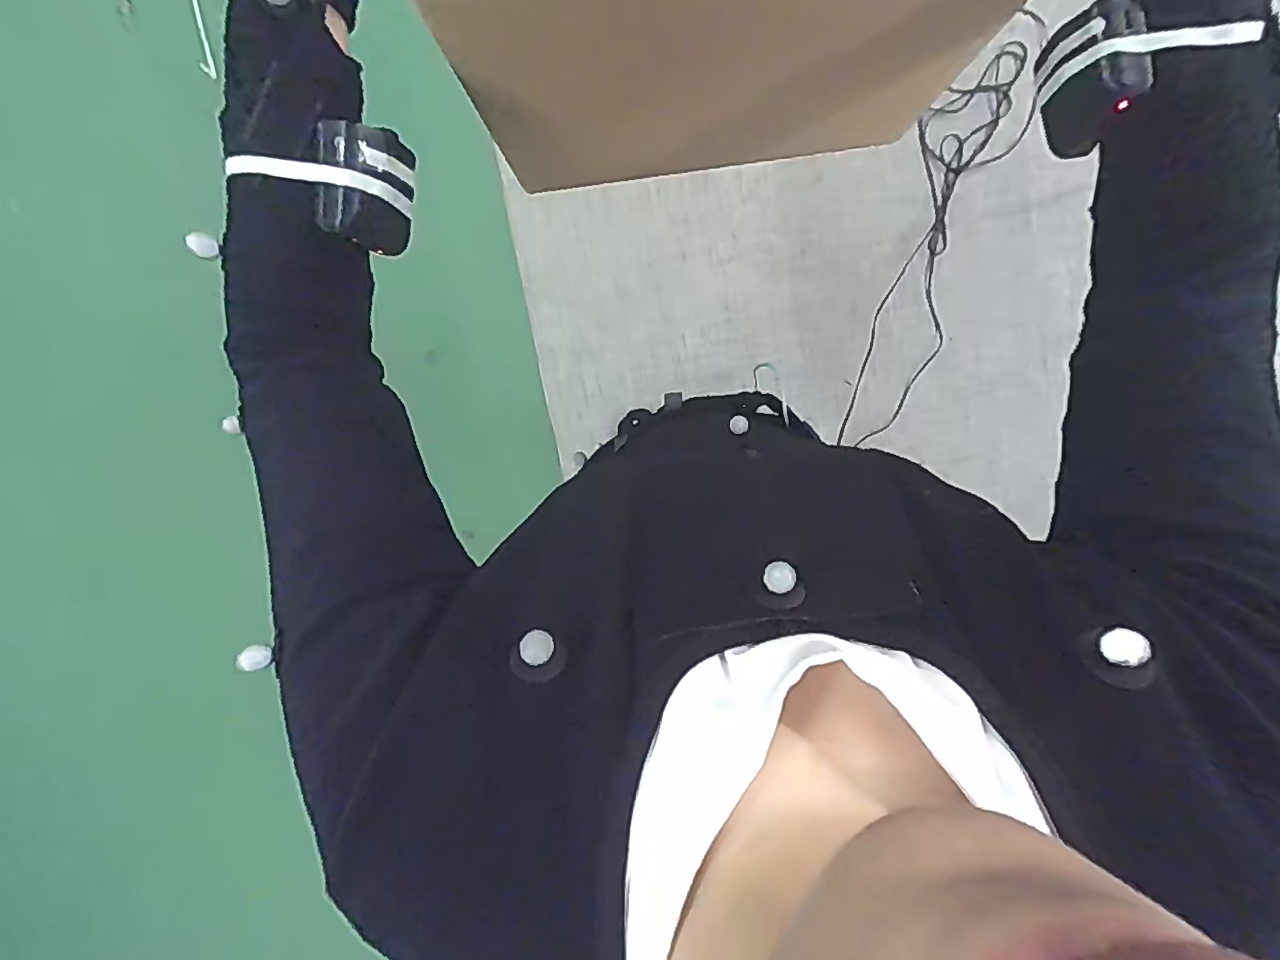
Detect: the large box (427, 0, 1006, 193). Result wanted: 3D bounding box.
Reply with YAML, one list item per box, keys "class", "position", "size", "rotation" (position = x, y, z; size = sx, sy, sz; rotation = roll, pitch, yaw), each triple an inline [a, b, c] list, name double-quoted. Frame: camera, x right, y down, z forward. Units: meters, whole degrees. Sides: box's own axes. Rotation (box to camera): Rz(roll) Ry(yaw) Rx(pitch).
- class: "large box"
  position: [0.048, -0.465, 0.414]
  size: [0.408, 0.320, 0.320]
  rotation: [-8, 98, 1]
